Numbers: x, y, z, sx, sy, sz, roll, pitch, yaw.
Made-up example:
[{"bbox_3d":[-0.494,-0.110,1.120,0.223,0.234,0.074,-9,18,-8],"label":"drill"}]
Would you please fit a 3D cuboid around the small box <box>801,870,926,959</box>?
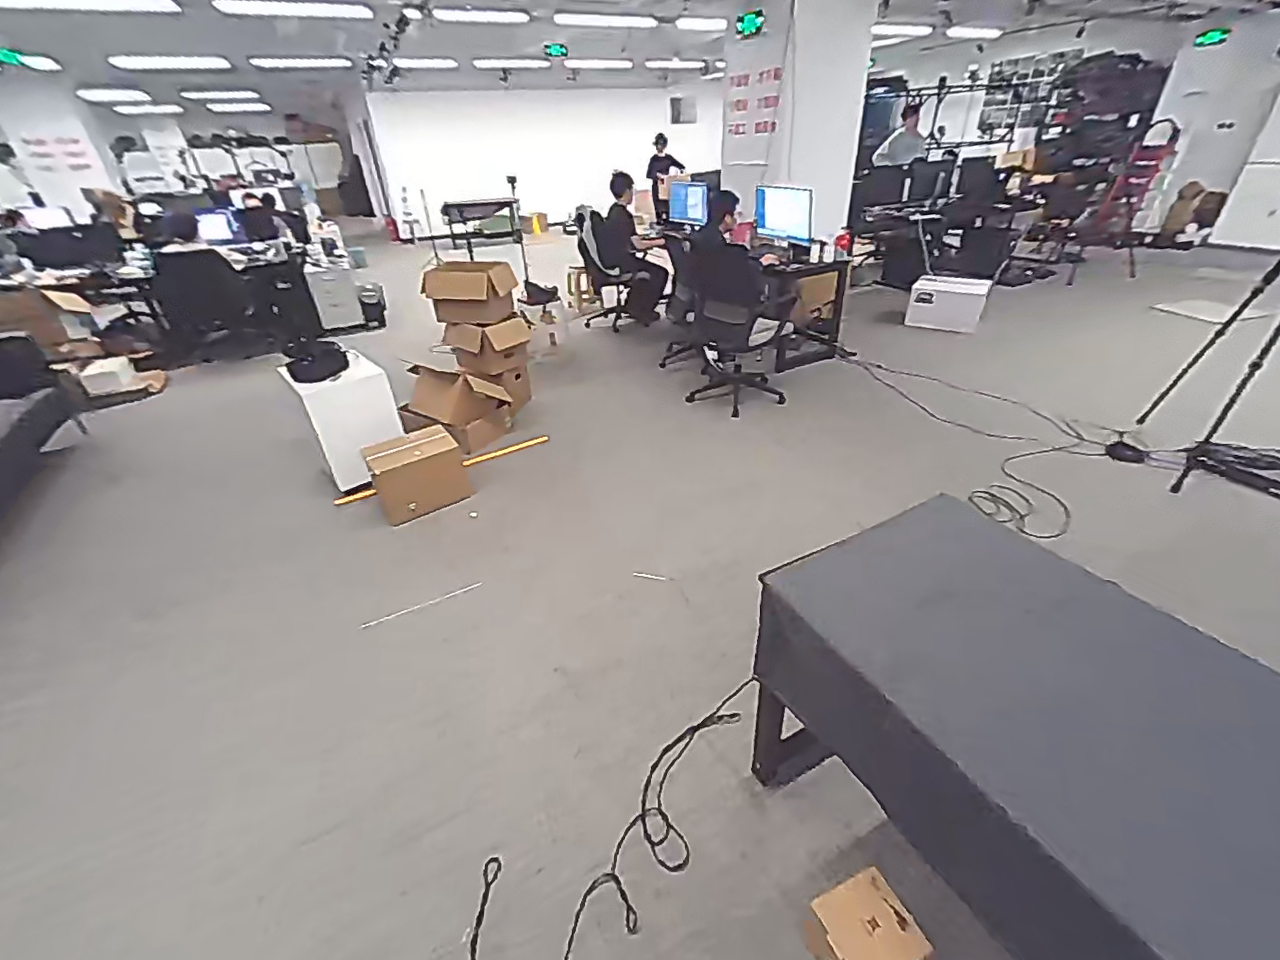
[{"bbox_3d":[0.455,0.977,1.132,0.179,0.176,0.168,-15,34,-18],"label":"small box"}]
